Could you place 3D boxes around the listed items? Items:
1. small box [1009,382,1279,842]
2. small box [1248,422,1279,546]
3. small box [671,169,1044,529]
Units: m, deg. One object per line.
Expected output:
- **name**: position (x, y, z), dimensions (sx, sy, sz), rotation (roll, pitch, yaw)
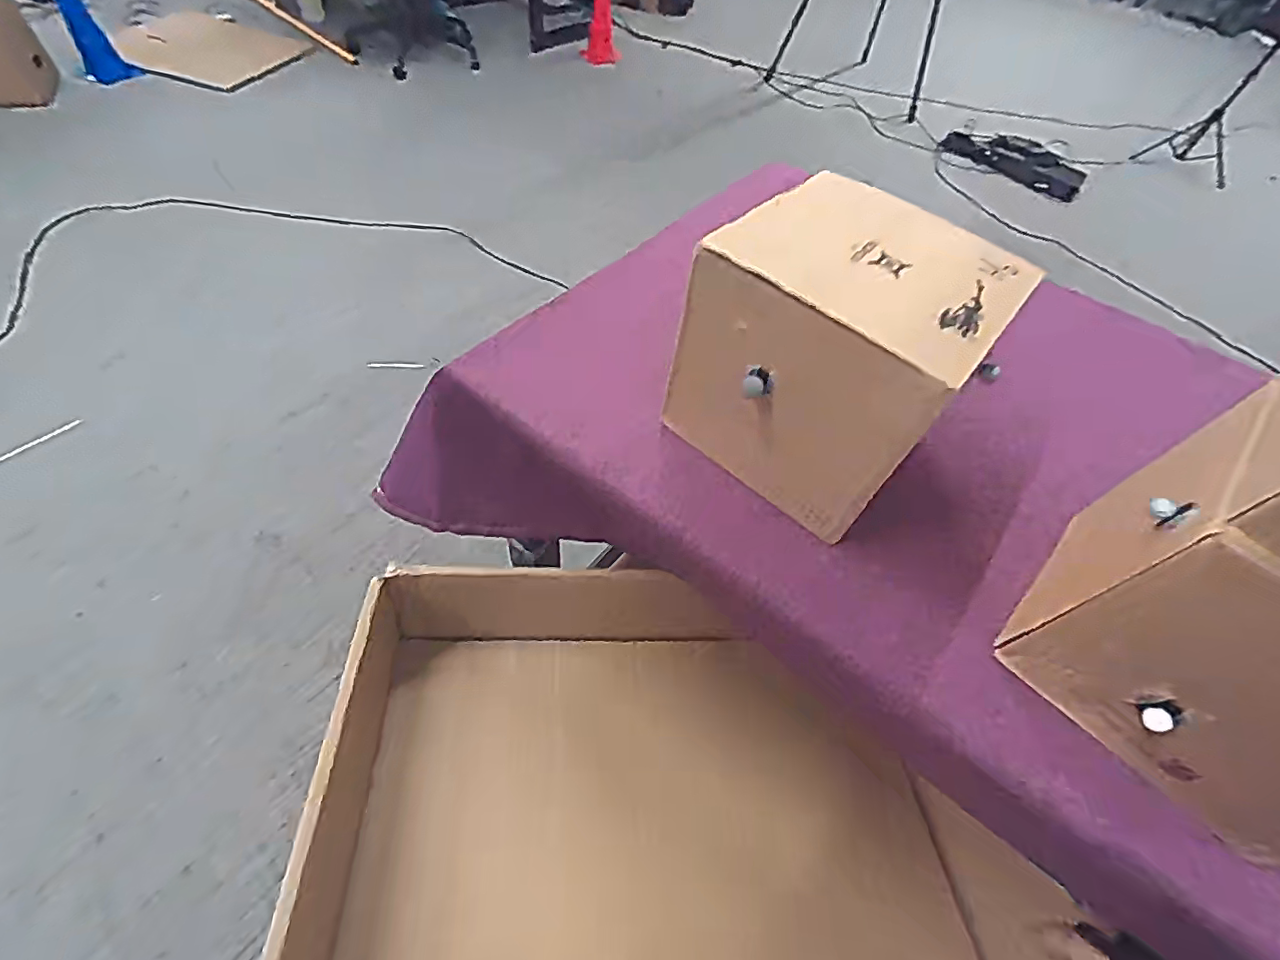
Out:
- **small box**: position (0.368, 0.077, 0.319), dimensions (0.179, 0.176, 0.168), rotation (-37, 66, -26)
- **small box**: position (0.390, -0.021, 0.187), dimensions (0.179, 0.176, 0.168), rotation (-35, 65, -26)
- **small box**: position (0.142, -0.095, 0.409), dimensions (0.179, 0.176, 0.168), rotation (38, 60, 19)
